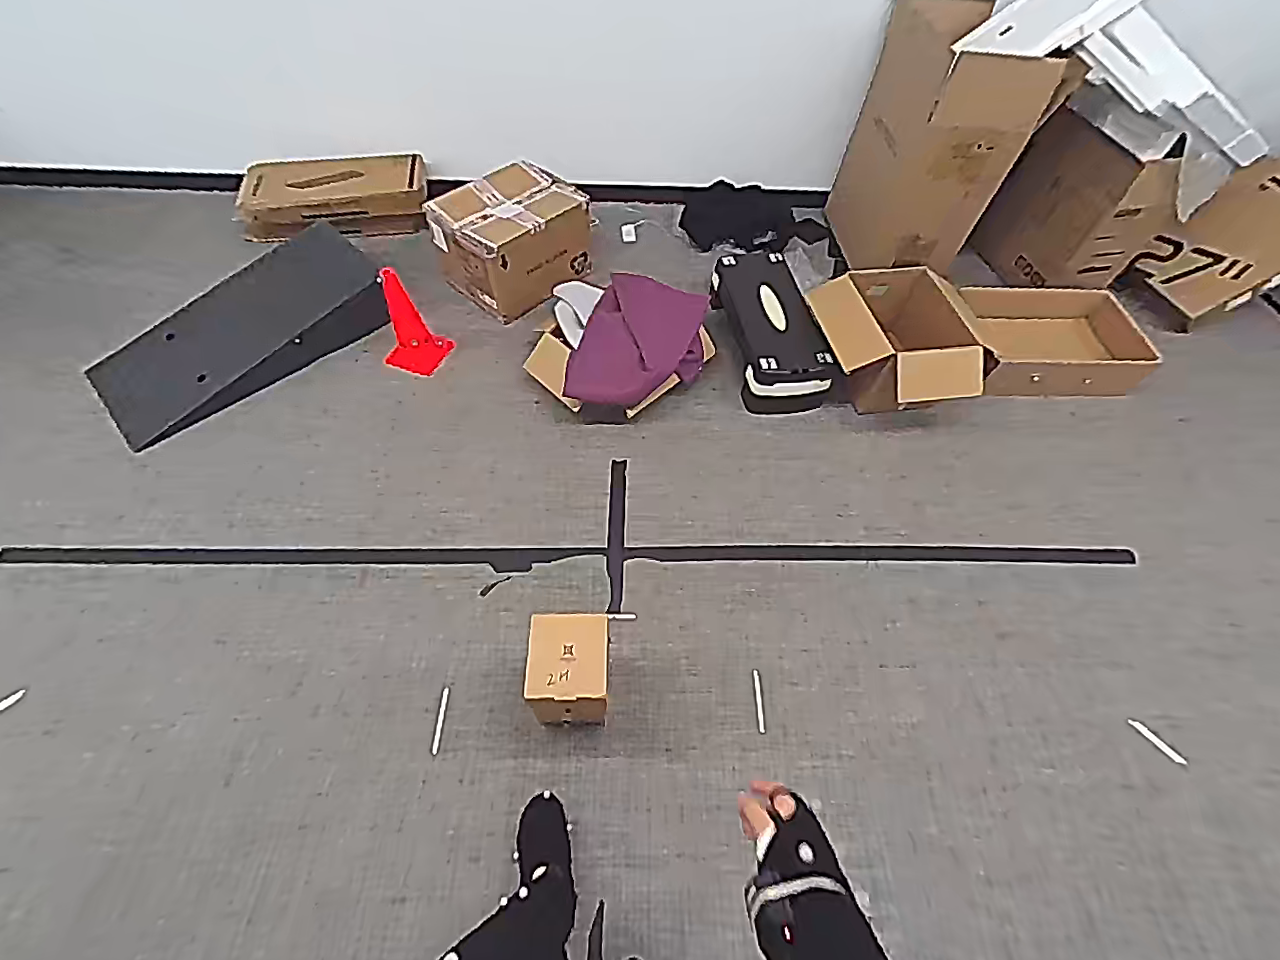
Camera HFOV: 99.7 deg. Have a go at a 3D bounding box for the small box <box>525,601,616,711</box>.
[{"bbox_3d":[-0.135,0.362,1.104,0.168,0.176,0.179,0,57,-2],"label":"small box"}]

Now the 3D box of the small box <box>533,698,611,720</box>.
[{"bbox_3d":[-0.149,0.446,1.246,0.168,0.176,0.179,-1,58,-2],"label":"small box"}]
